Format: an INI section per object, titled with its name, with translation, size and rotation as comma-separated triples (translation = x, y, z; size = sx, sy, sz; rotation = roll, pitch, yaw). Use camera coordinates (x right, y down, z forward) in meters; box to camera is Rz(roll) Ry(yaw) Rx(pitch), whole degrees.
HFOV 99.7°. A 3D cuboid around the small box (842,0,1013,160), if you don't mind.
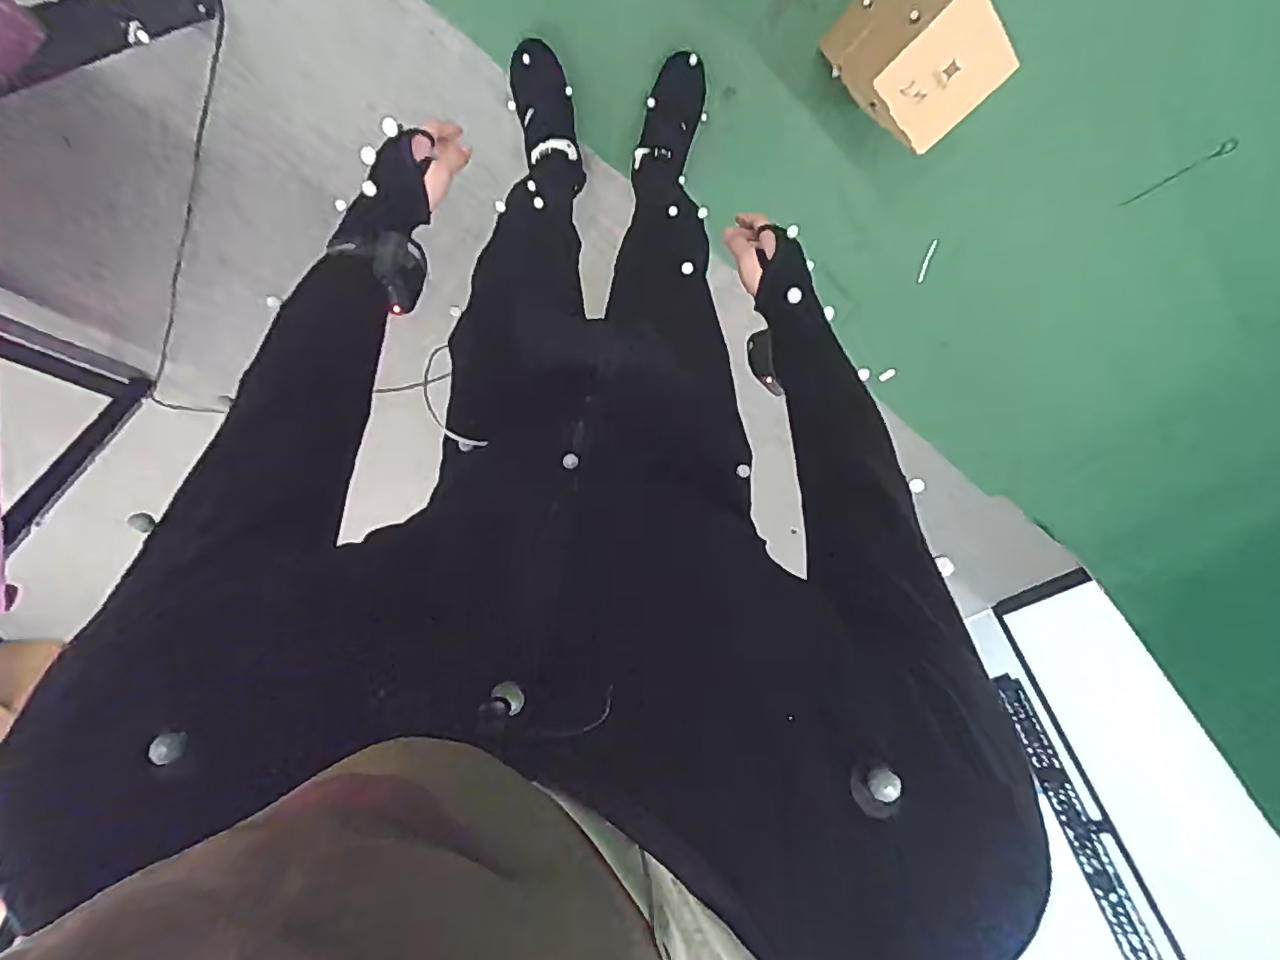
[small box]
translation = 0.481, -0.705, 0.925
size = 0.168, 0.176, 0.179
rotation = 29, 128, -31
